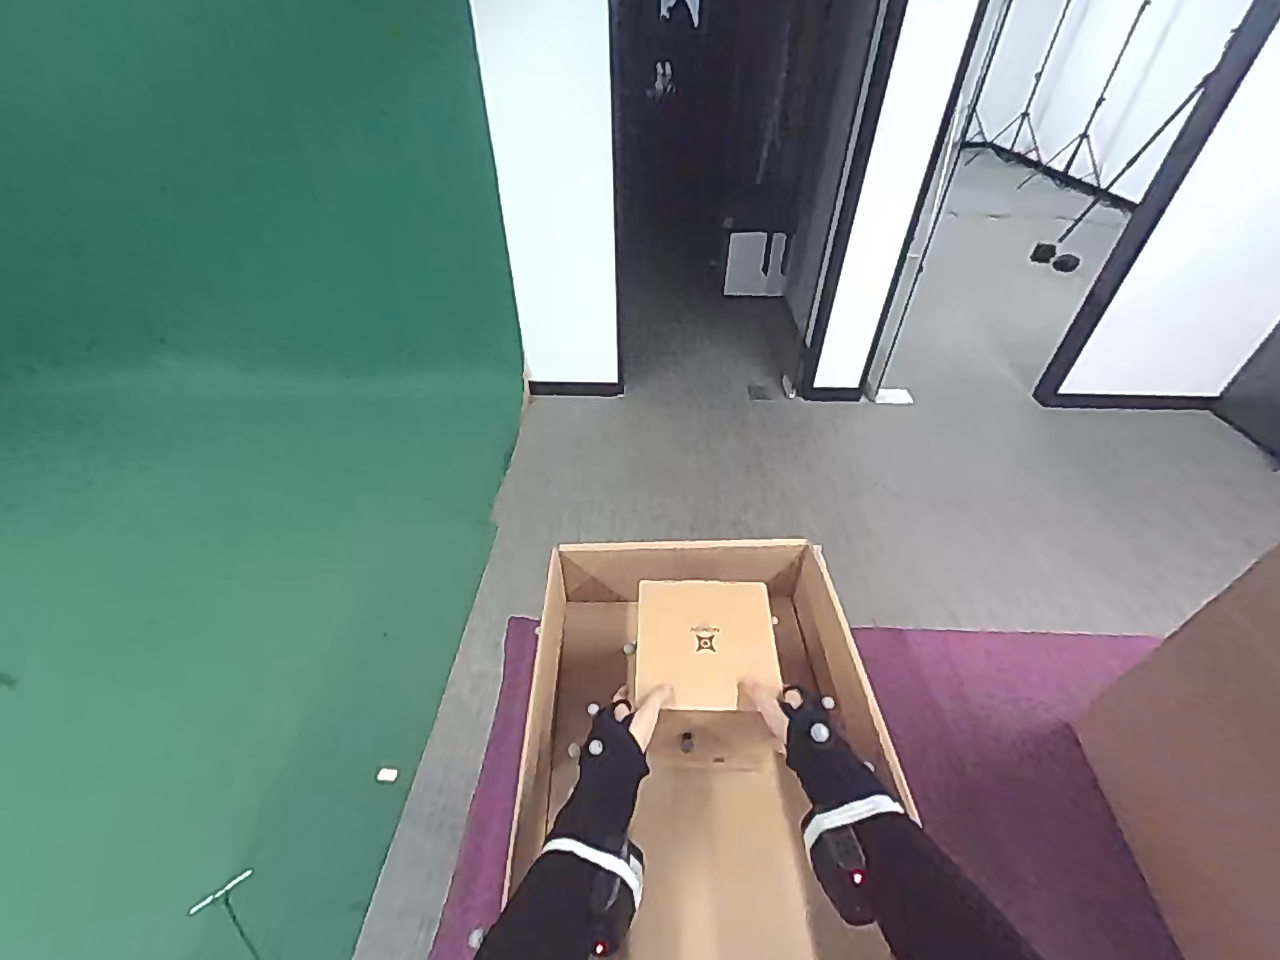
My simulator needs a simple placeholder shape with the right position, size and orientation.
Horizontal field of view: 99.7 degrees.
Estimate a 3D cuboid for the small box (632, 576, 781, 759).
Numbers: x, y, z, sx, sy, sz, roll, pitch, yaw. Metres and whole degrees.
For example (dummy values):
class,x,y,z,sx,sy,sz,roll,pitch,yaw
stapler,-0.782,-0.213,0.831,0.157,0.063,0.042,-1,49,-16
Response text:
class,x,y,z,sx,sy,sz,roll,pitch,yaw
small box,0.079,0.244,0.702,0.168,0.176,0.179,0,42,2
